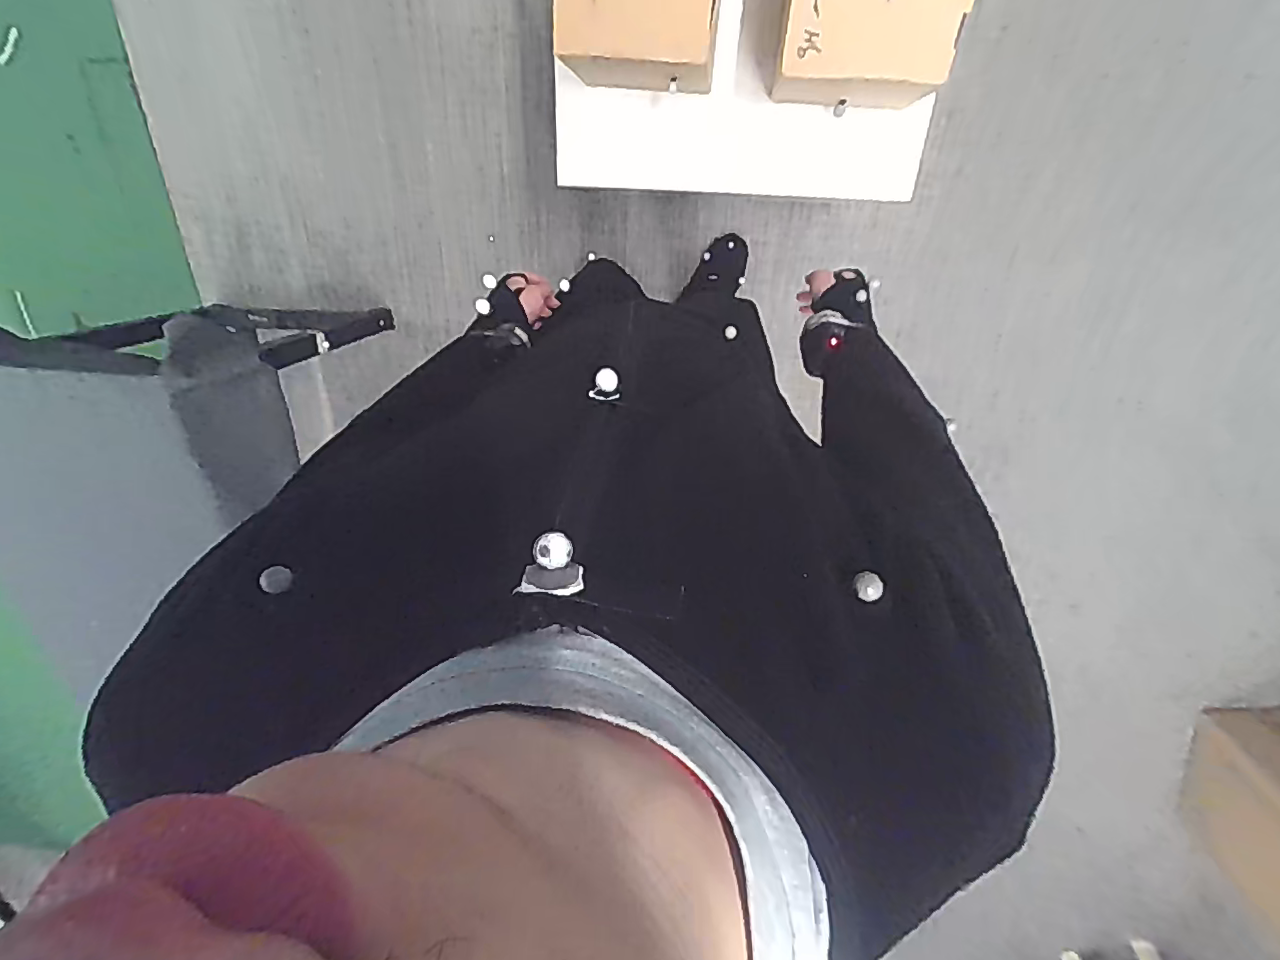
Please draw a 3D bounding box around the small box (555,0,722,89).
[{"bbox_3d":[0.008,-0.567,0.620,0.179,0.176,0.168,7,116,5],"label":"small box"}]

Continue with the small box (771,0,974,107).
[{"bbox_3d":[0.254,-0.530,0.603,0.179,0.176,0.168,7,118,4],"label":"small box"}]
